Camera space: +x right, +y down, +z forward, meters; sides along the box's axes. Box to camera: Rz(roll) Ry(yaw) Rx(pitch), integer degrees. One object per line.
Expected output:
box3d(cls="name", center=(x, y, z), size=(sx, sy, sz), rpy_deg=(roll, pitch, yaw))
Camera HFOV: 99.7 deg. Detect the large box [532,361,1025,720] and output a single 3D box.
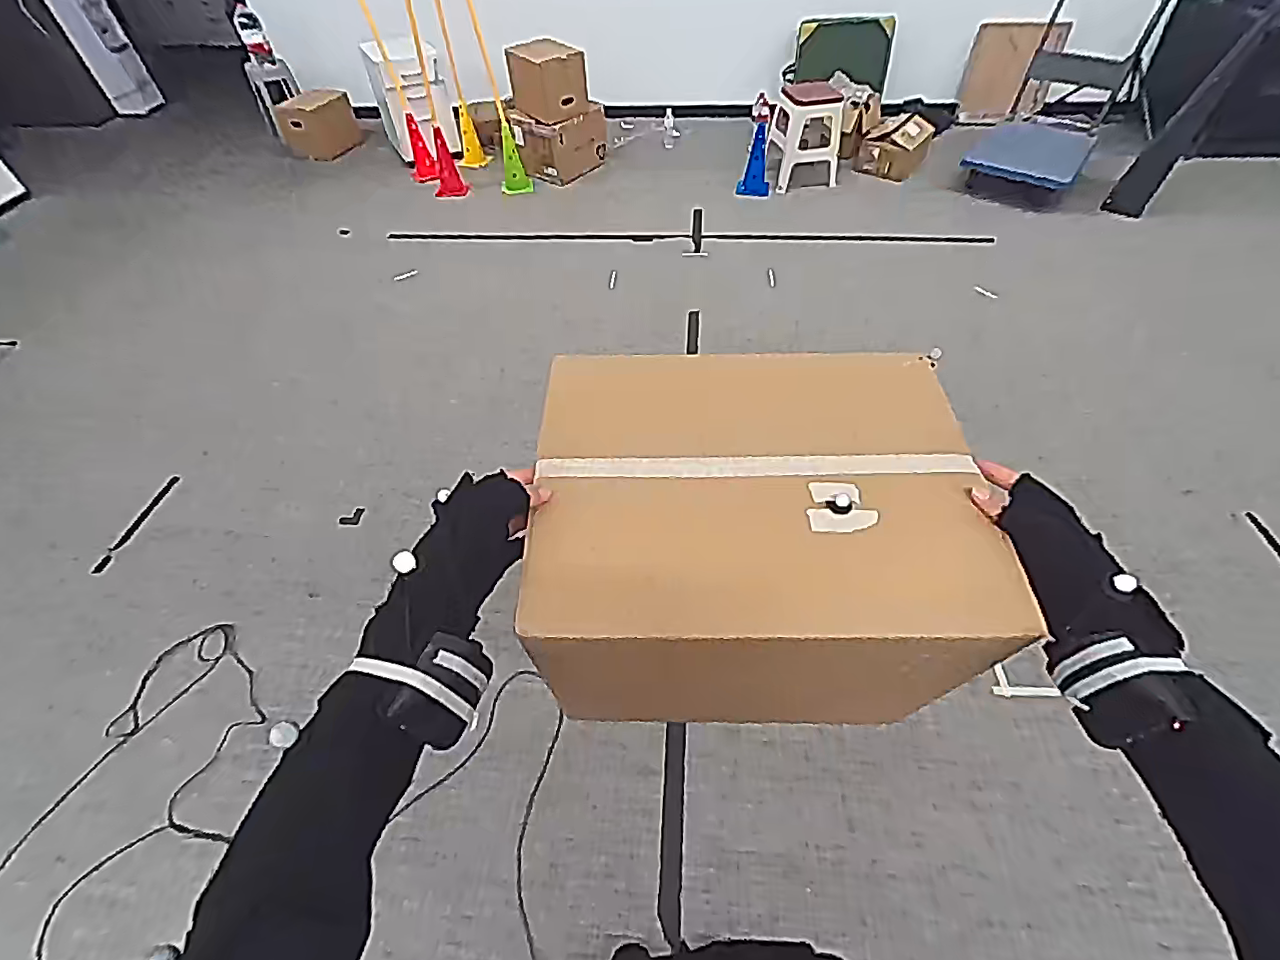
box3d(cls="large box", center=(0.108, 0.082, 0.634), size=(0.408, 0.320, 0.320), rpy_deg=(-1, 55, 1))
